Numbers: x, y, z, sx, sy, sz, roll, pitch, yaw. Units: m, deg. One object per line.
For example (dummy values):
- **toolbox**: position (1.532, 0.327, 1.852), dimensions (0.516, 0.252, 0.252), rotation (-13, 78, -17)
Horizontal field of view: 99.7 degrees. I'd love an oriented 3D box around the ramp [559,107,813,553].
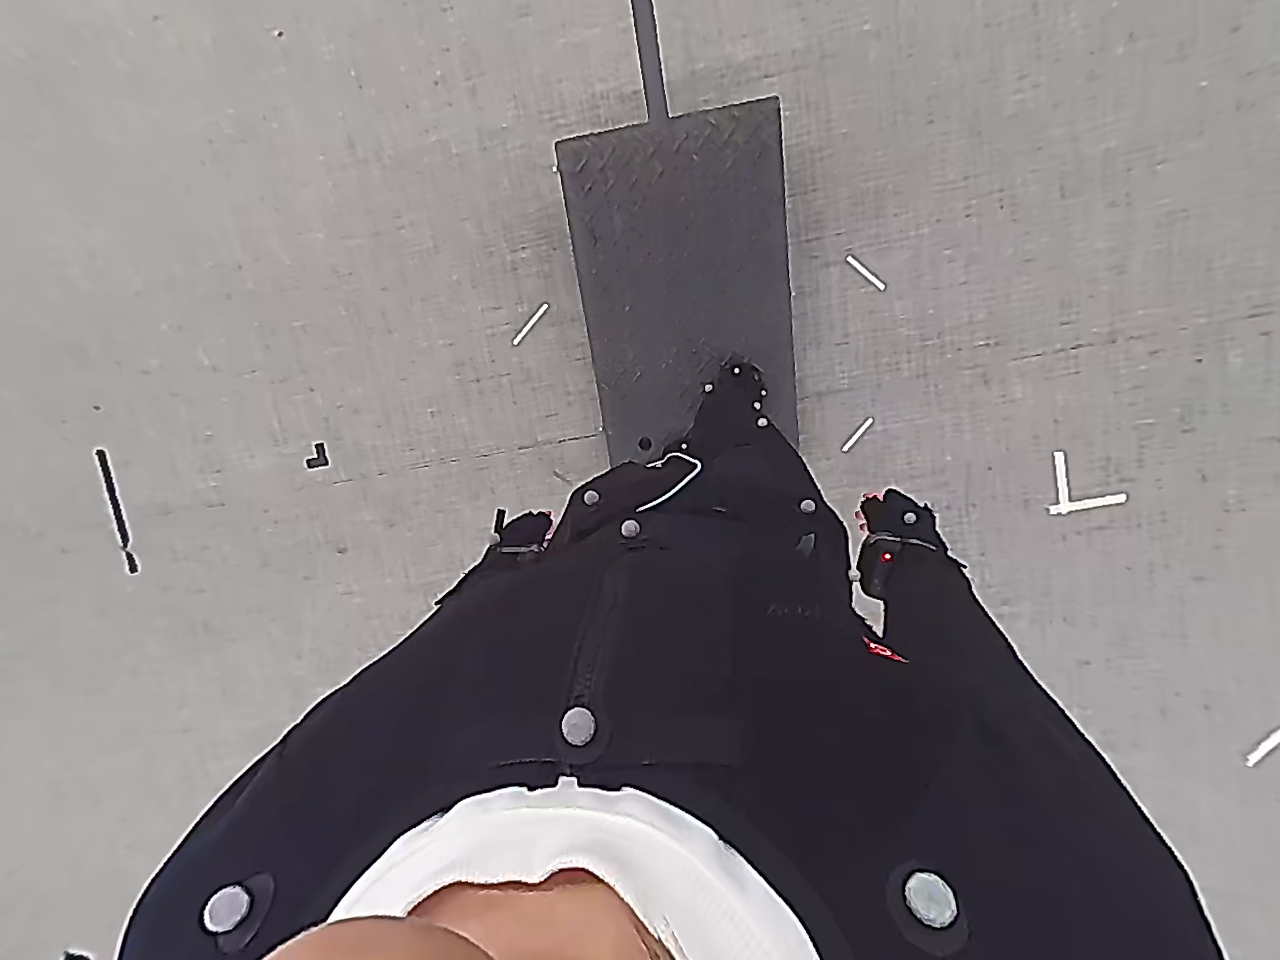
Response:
- **ramp**: position (0.142, -0.296, 1.333), dimensions (0.509, 0.206, 0.991), rotation (-9, 97, 8)
